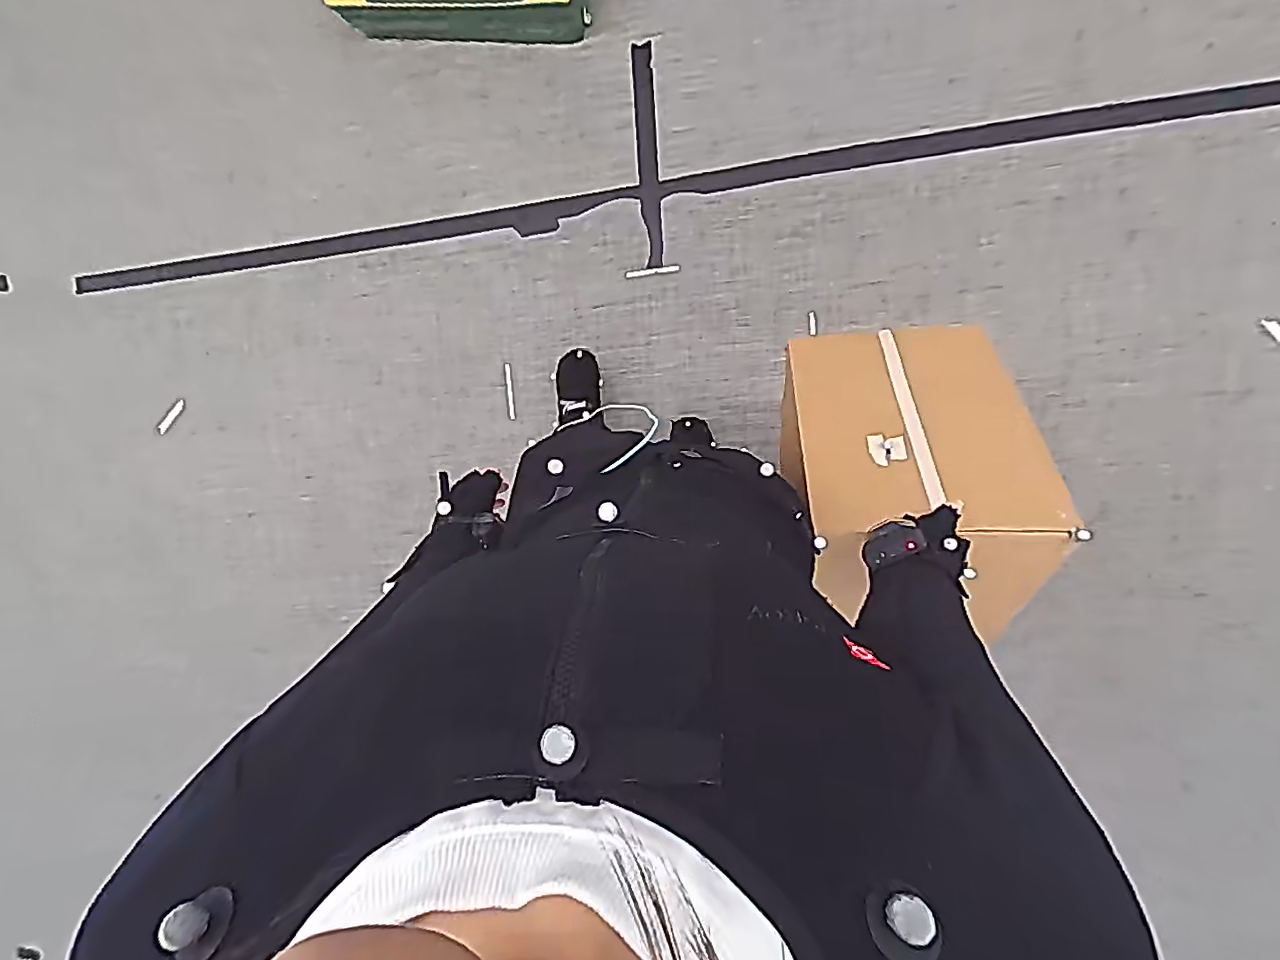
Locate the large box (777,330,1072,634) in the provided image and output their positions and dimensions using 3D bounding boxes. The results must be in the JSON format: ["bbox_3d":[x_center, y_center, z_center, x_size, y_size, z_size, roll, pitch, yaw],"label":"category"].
[{"bbox_3d":[0.405,0.006,0.902,0.320,0.408,0.320,-2,143,12],"label":"large box"}]
